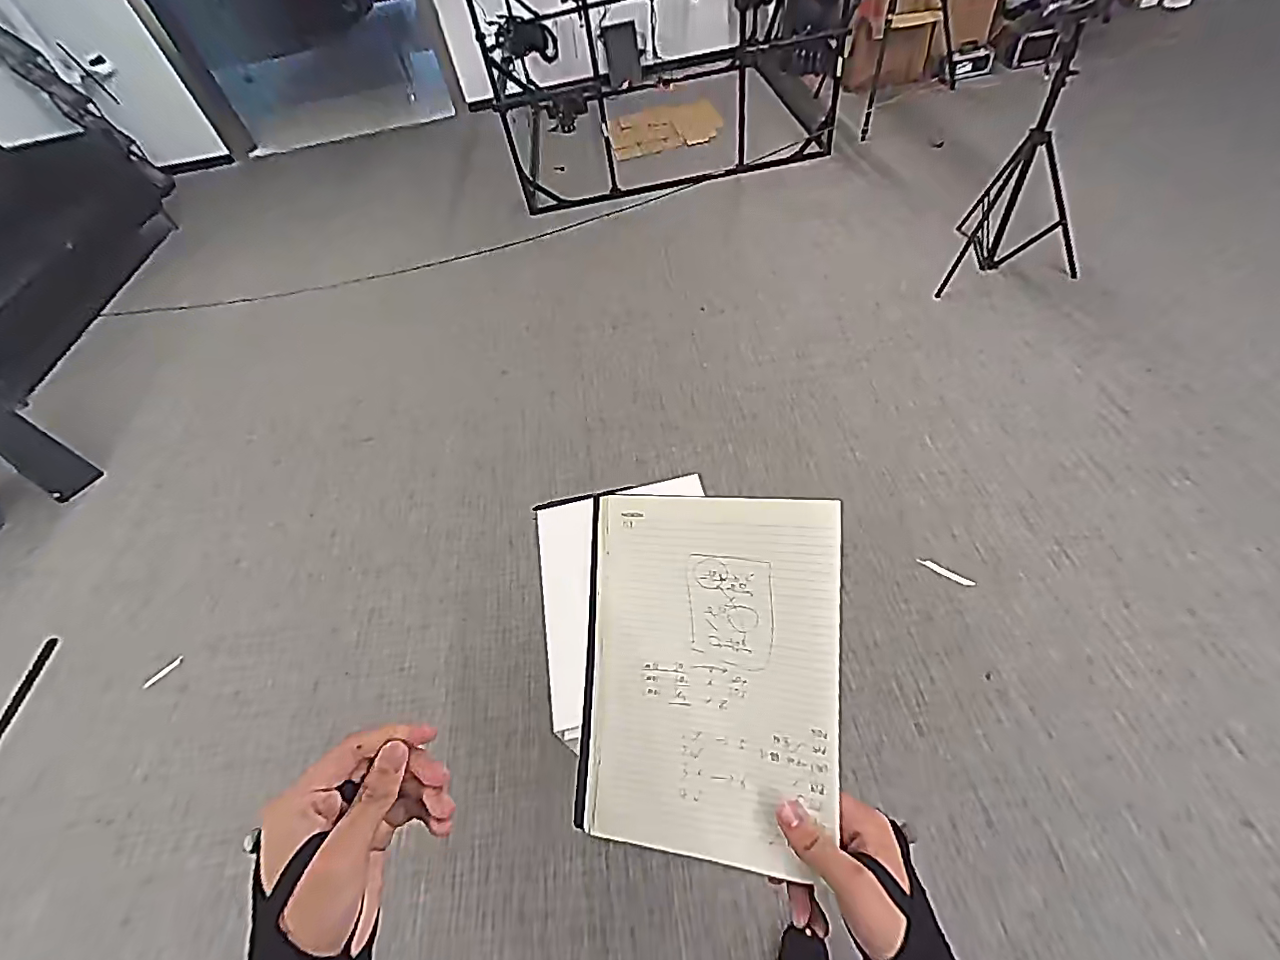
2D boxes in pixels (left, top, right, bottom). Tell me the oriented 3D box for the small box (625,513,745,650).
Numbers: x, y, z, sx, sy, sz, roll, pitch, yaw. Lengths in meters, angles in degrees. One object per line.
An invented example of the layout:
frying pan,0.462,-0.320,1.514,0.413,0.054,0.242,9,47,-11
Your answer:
small box,0.087,0.198,1.038,0.179,0.176,0.168,-20,50,-5
